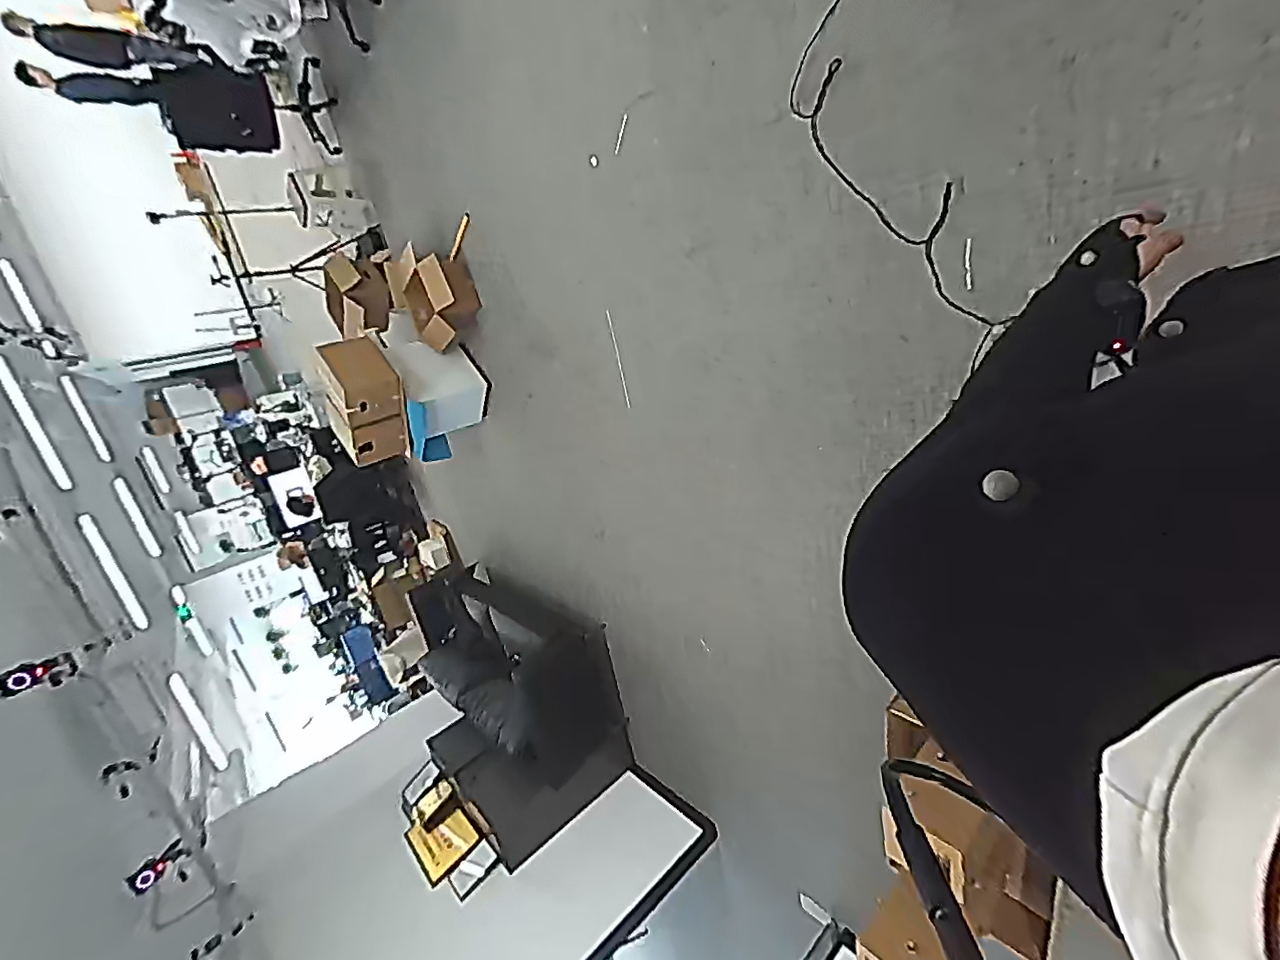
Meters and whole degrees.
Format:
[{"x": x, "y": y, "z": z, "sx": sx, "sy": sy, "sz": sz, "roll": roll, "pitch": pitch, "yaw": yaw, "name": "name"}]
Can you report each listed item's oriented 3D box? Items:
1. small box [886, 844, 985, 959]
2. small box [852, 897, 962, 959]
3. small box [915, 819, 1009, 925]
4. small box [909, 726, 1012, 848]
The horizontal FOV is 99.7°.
[{"x": 0.734, "y": 1.065, "z": 1.345, "sx": 0.179, "sy": 0.176, "sz": 0.168, "roll": 14, "pitch": 119, "yaw": 45, "name": "small box"}, {"x": 0.613, "y": 1.120, "z": 1.248, "sx": 0.179, "sy": 0.176, "sz": 0.168, "roll": 13, "pitch": 119, "yaw": 46, "name": "small box"}, {"x": 0.854, "y": 1.007, "z": 1.440, "sx": 0.179, "sy": 0.176, "sz": 0.168, "roll": 17, "pitch": 122, "yaw": 46, "name": "small box"}, {"x": 0.800, "y": 0.753, "z": 1.353, "sx": 0.179, "sy": 0.176, "sz": 0.168, "roll": 11, "pitch": 119, "yaw": 48, "name": "small box"}]
